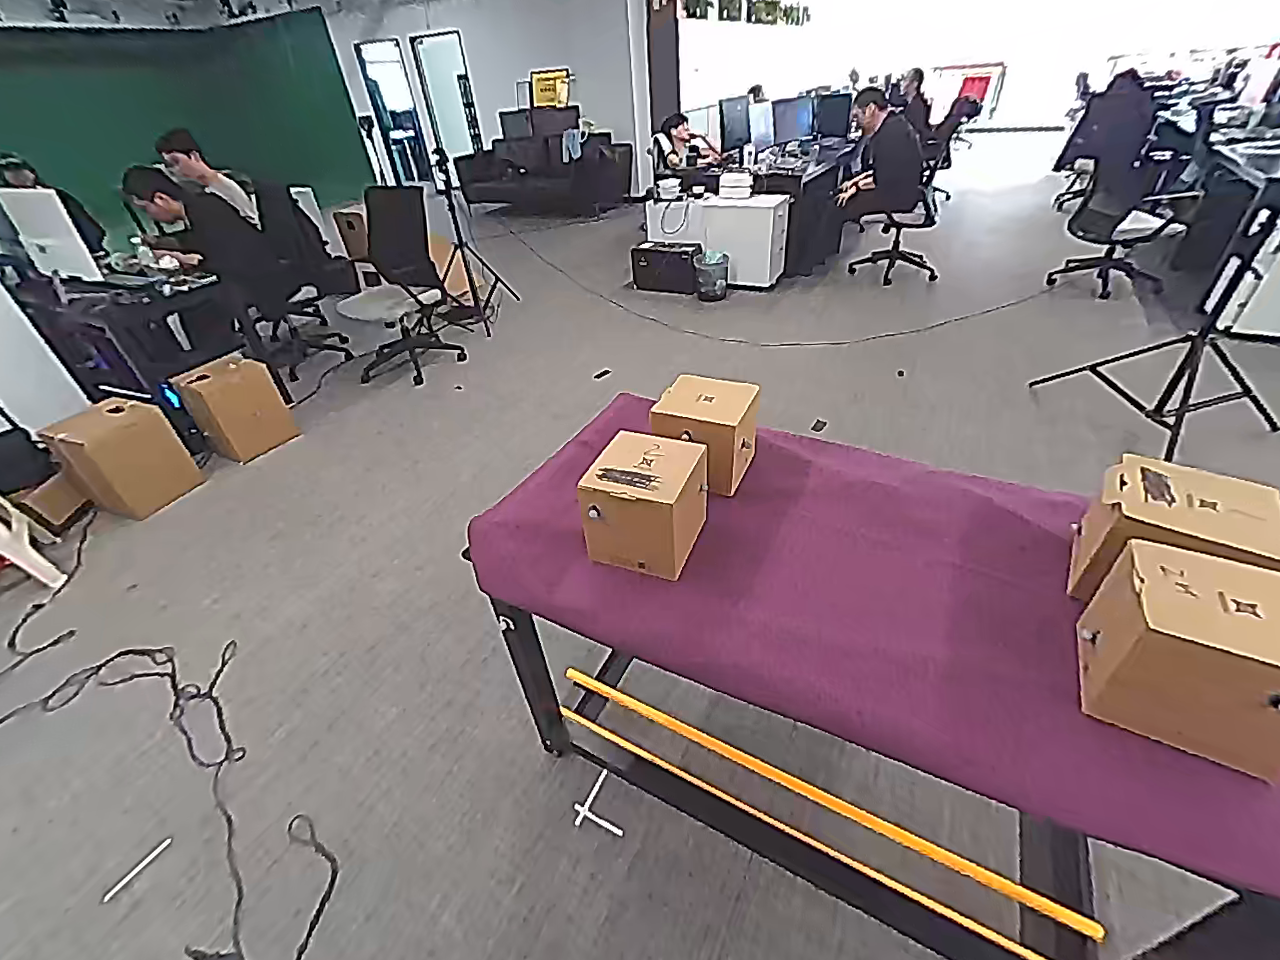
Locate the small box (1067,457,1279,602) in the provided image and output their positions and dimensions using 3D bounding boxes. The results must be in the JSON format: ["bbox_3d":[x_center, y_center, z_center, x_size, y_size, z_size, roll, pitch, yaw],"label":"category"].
[{"bbox_3d":[0.761,0.097,0.787,0.179,0.176,0.168,21,46,29],"label":"small box"}]

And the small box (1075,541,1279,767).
[{"bbox_3d":[0.664,0.208,0.651,0.179,0.176,0.168,16,40,27],"label":"small box"}]

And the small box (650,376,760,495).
[{"bbox_3d":[0.135,-0.090,1.109,0.179,0.176,0.168,13,40,22],"label":"small box"}]
